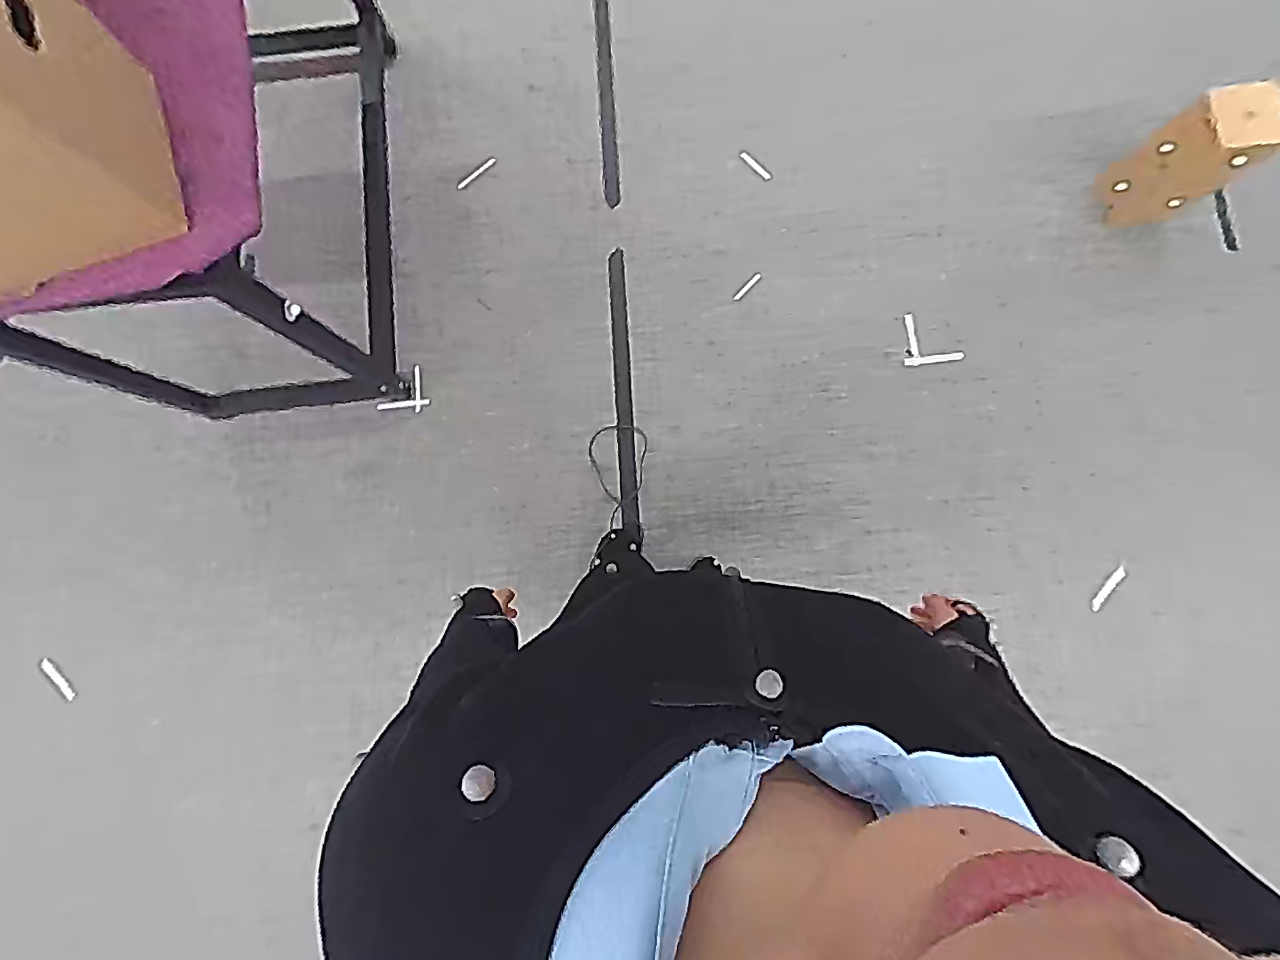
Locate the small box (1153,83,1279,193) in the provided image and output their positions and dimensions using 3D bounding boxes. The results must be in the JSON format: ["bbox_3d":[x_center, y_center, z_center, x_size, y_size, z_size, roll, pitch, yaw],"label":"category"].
[{"bbox_3d":[1.491,-0.870,1.387,0.179,0.176,0.168,-7,83,1],"label":"small box"}]

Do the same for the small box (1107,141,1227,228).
[{"bbox_3d":[1.491,-0.849,1.549,0.179,0.176,0.168,-8,83,-1],"label":"small box"}]
